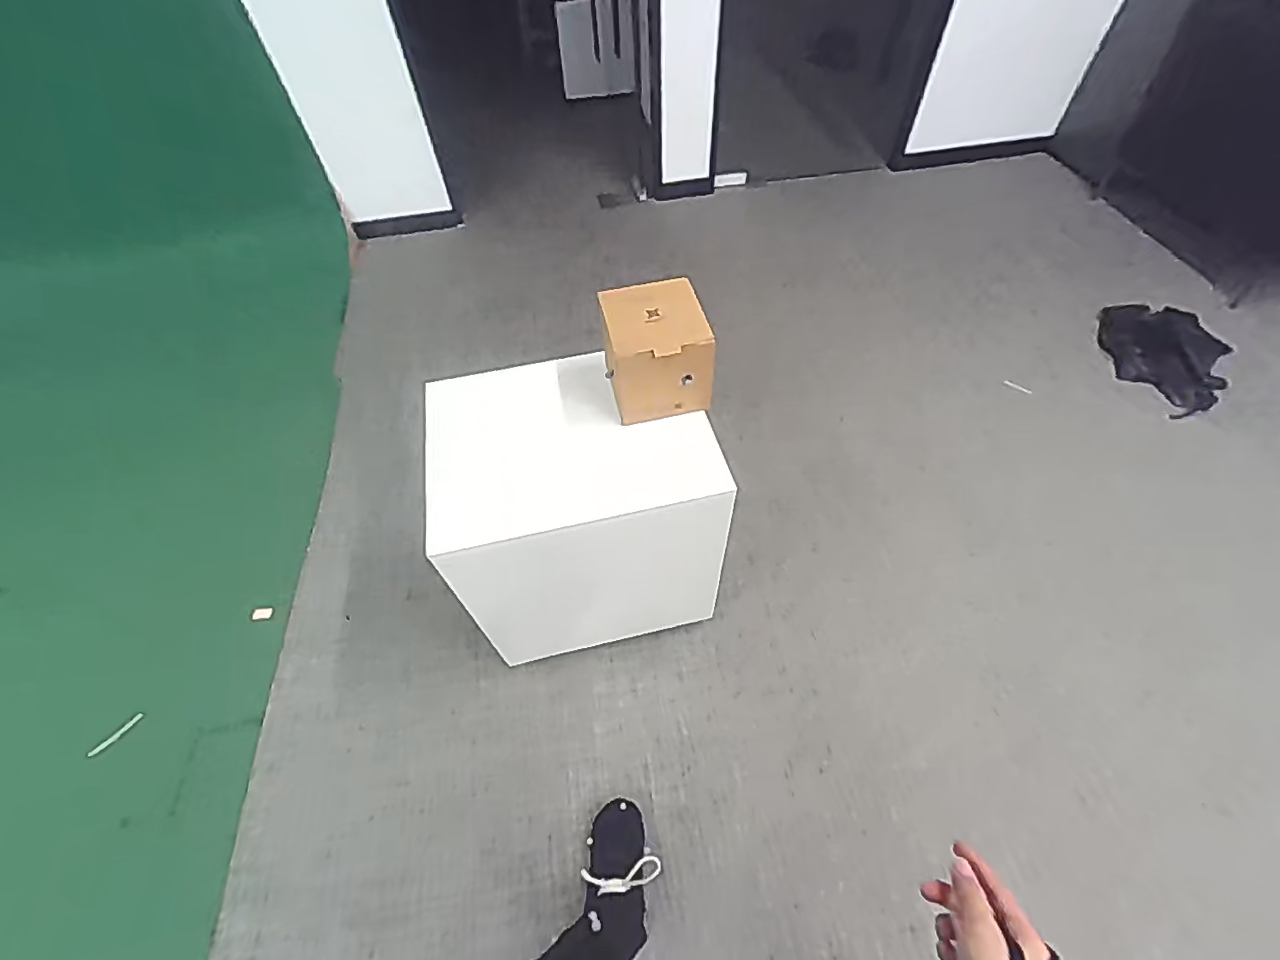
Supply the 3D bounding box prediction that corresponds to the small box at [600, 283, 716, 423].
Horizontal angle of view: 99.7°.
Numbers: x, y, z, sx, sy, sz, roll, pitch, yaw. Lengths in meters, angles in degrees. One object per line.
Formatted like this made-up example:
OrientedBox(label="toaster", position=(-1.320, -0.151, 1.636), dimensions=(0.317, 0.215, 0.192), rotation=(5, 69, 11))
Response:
OrientedBox(label="small box", position=(0.030, -0.219, 0.968), dimensions=(0.168, 0.176, 0.179), rotation=(-11, 54, -6))
